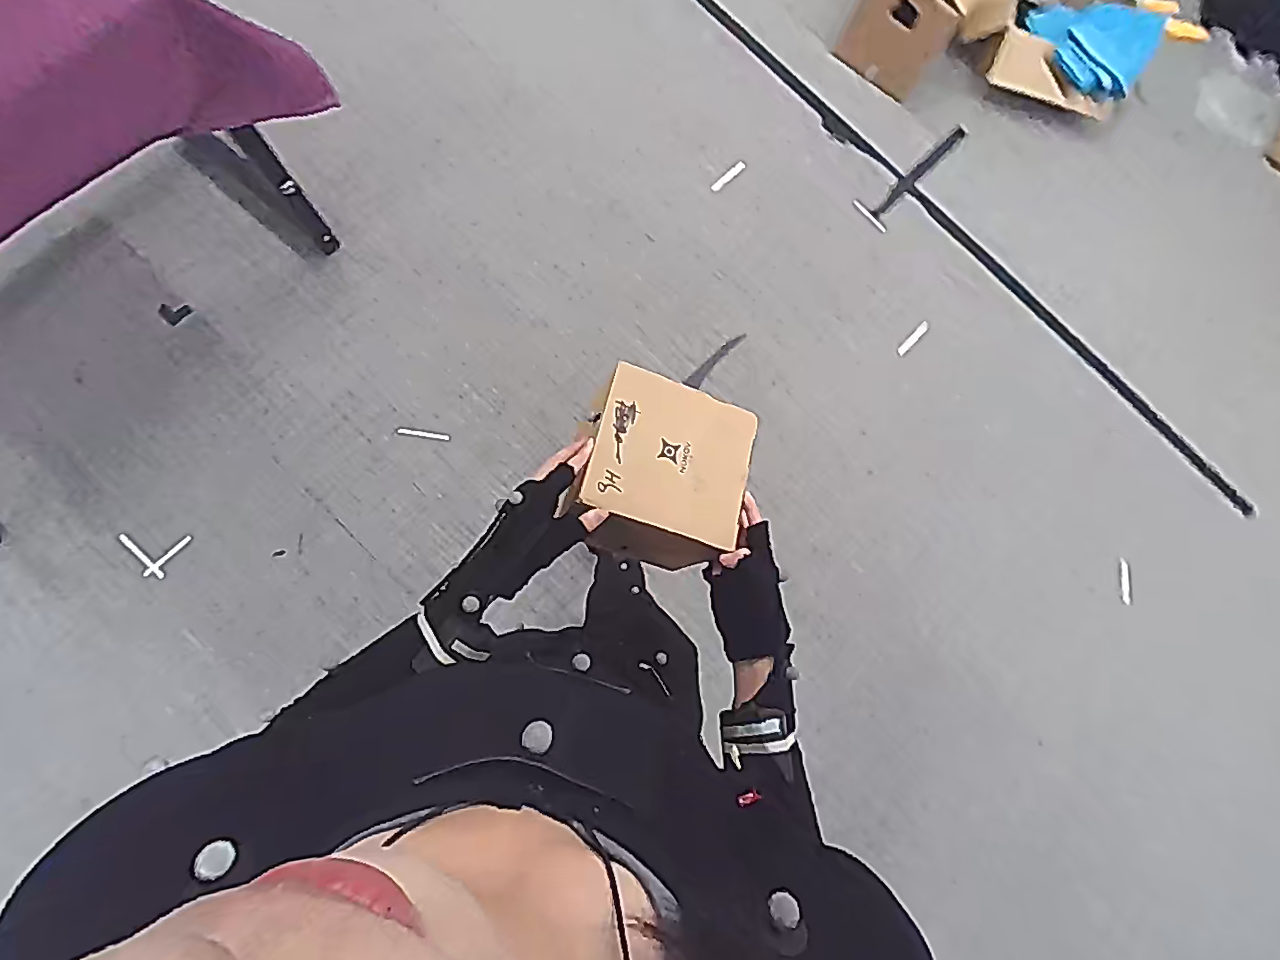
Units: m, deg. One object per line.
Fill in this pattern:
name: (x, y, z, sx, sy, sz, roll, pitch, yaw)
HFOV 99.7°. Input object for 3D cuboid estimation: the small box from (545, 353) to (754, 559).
small box: (0.006, -0.013, 0.633, 0.179, 0.176, 0.168, 19, 66, -15)
